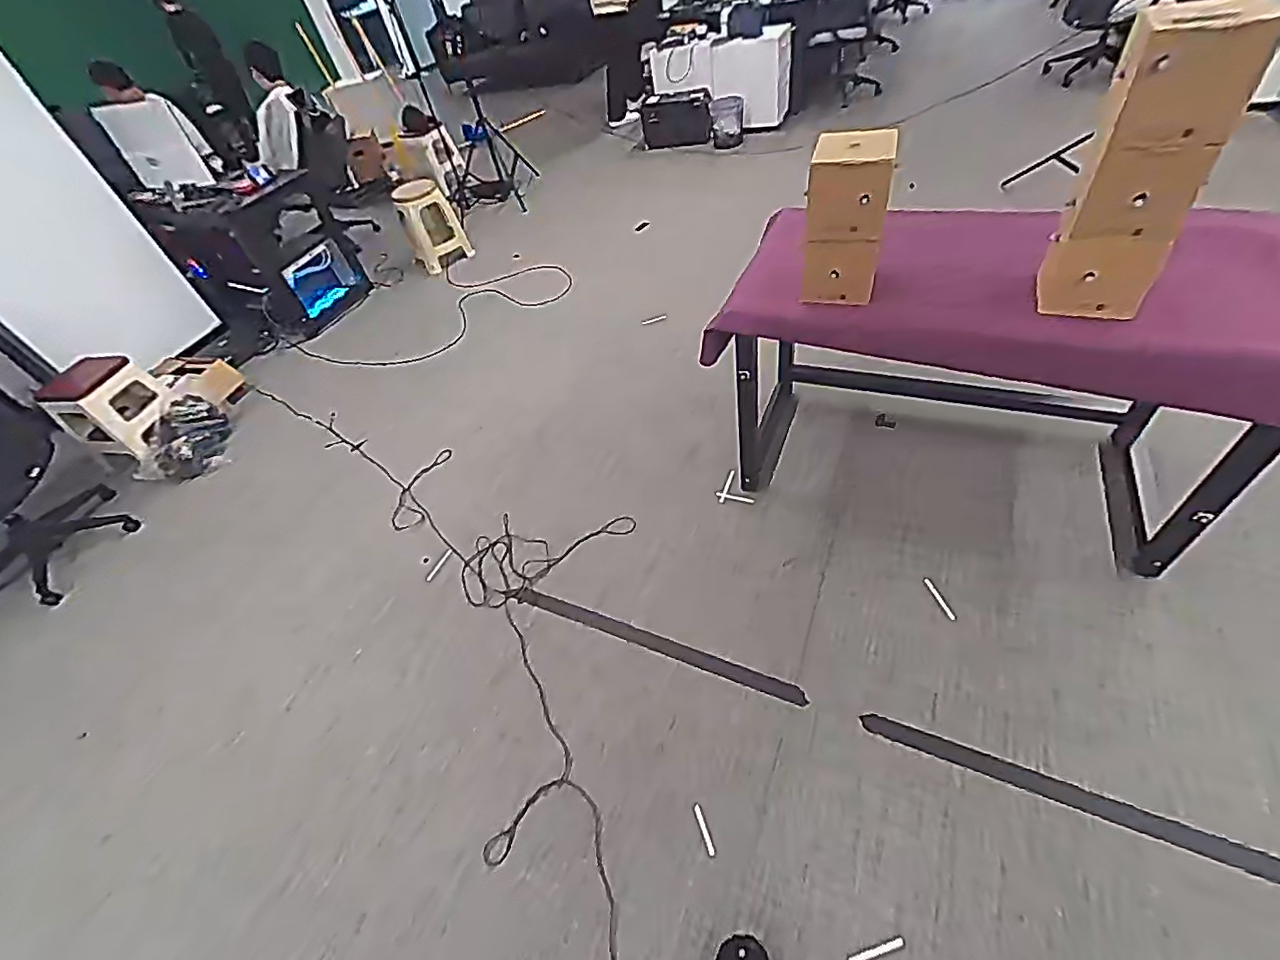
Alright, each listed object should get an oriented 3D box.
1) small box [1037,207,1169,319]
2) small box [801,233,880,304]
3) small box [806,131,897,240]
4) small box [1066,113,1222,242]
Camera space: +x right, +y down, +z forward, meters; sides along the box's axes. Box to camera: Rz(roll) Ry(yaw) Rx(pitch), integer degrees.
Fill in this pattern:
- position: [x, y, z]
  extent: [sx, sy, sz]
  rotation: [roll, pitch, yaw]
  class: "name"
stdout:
- position: [0.975, -0.463, 1.155]
  extent: [0.168, 0.176, 0.179]
  rotation: [13, 52, 23]
  class: "small box"
- position: [0.497, -0.554, 1.337]
  extent: [0.168, 0.176, 0.179]
  rotation: [10, 51, 20]
  class: "small box"
- position: [0.471, -0.656, 1.213]
  extent: [0.168, 0.176, 0.179]
  rotation: [9, 50, 18]
  class: "small box"
- position: [0.951, -0.575, 1.038]
  extent: [0.168, 0.176, 0.179]
  rotation: [14, 53, 23]
  class: "small box"
